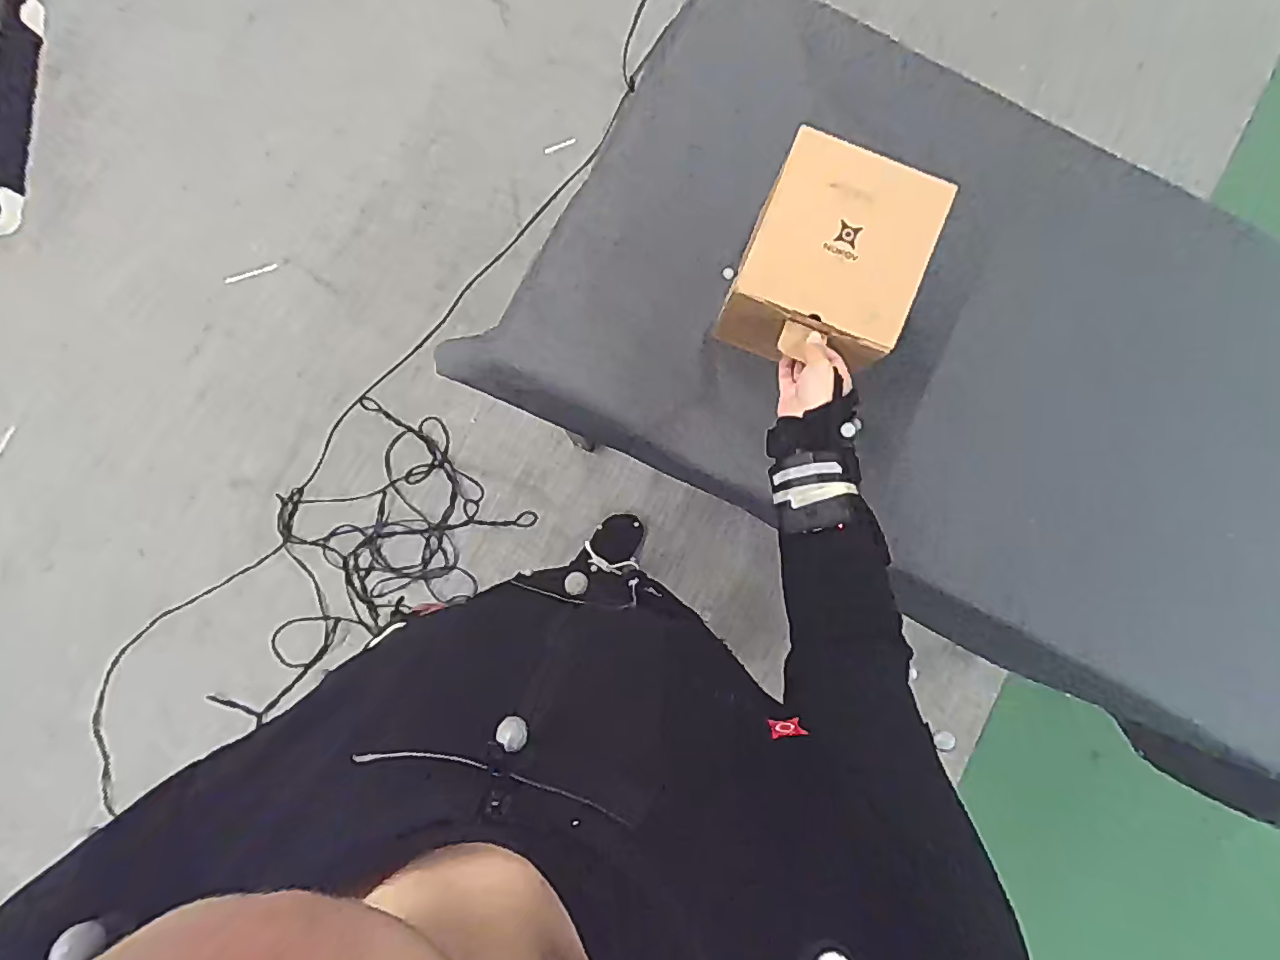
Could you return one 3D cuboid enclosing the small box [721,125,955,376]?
[{"bbox_3d":[0.199,-0.233,0.600,0.168,0.176,0.179,21,89,-1],"label":"small box"}]
